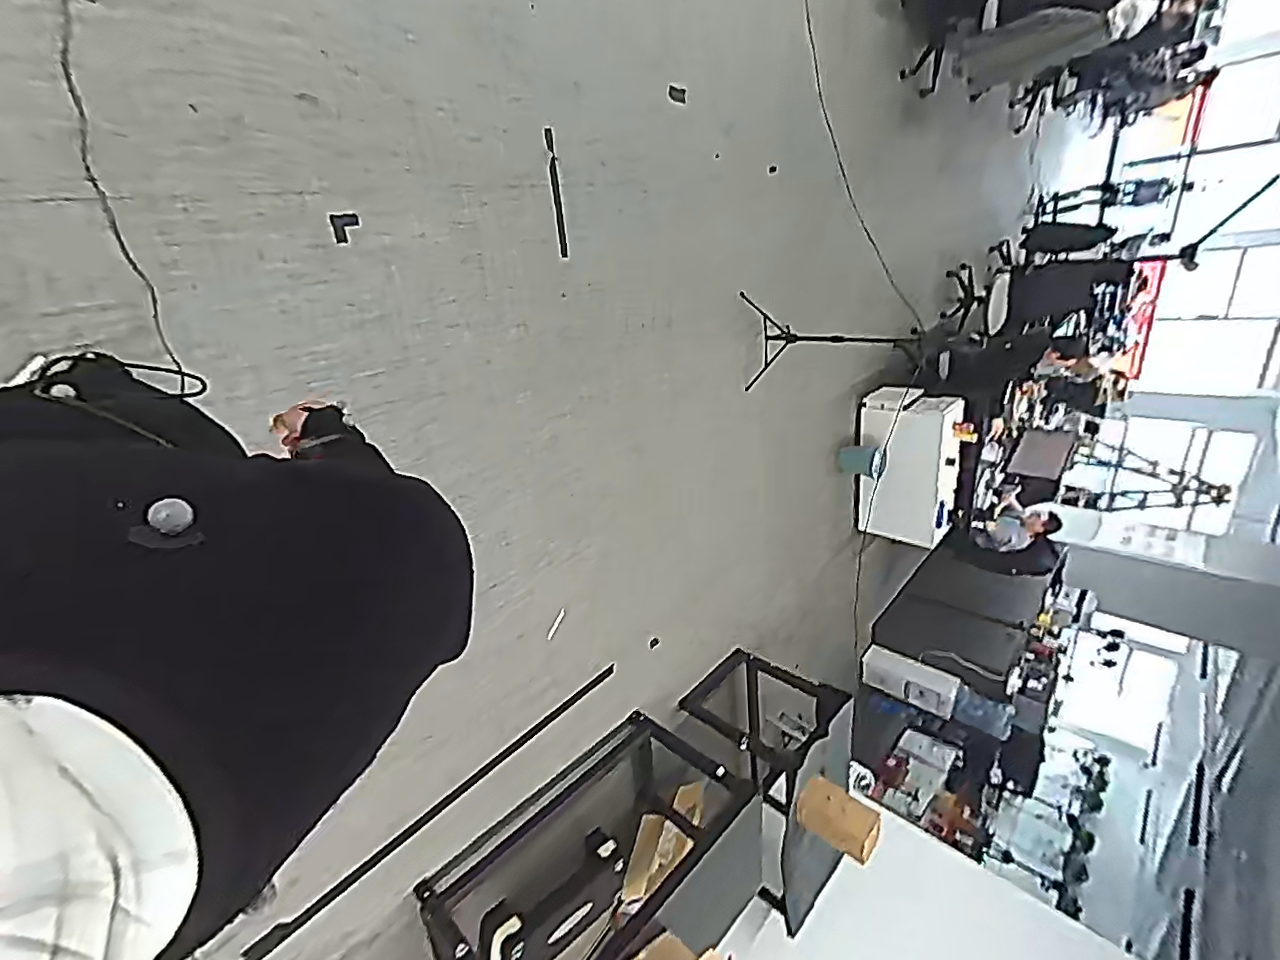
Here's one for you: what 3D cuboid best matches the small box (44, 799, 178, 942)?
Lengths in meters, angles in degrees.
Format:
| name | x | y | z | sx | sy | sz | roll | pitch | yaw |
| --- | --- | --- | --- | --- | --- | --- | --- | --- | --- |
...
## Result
| name | x | y | z | sx | sy | sz | roll | pitch | yaw |
| --- | --- | --- | --- | --- | --- | --- | --- | --- | --- |
| small box | -1.217 | 0.889 | 1.250 | 0.168 | 0.176 | 0.179 | -30 | 121 | -39 |
